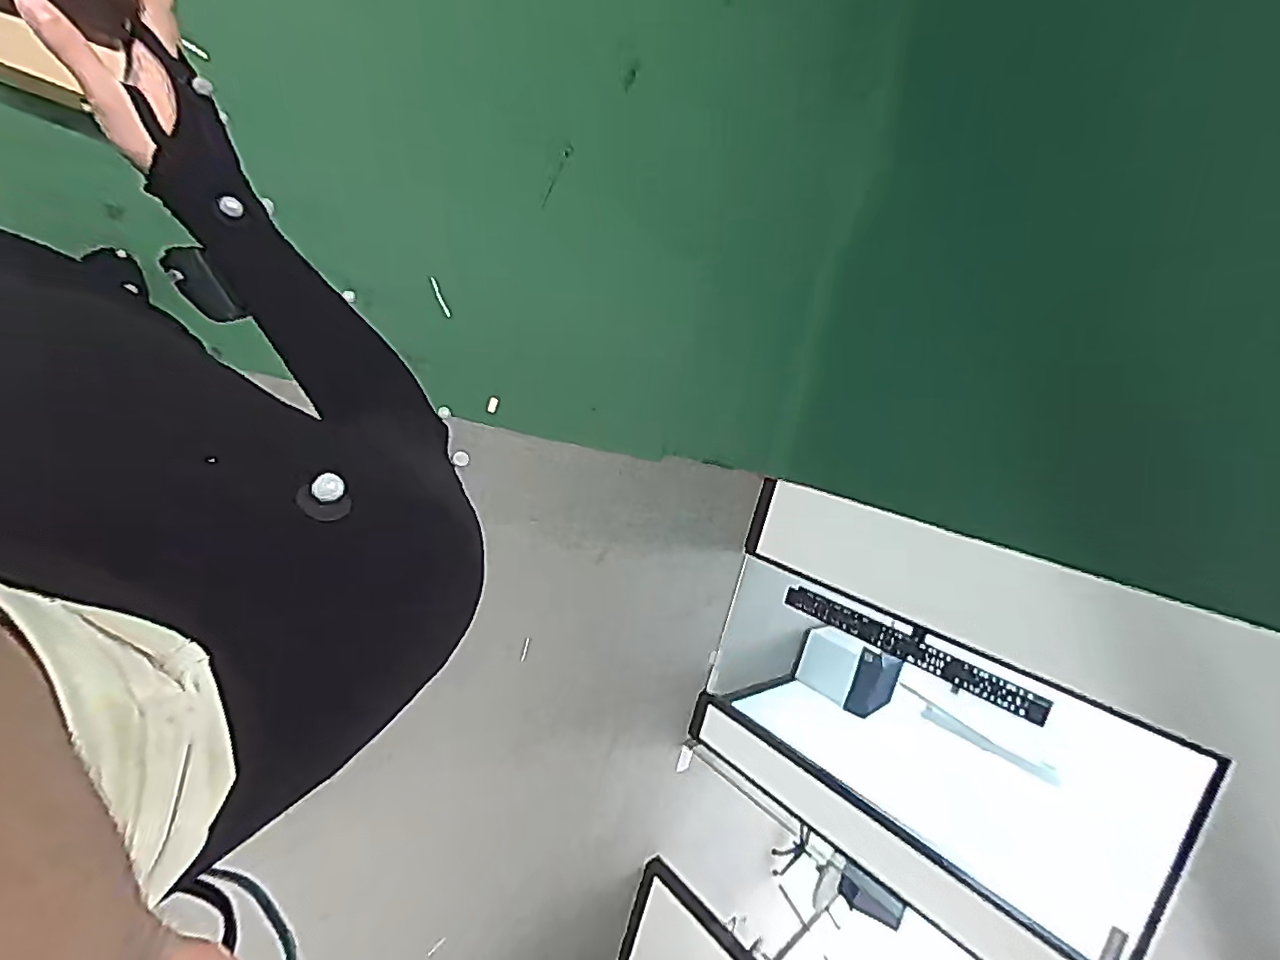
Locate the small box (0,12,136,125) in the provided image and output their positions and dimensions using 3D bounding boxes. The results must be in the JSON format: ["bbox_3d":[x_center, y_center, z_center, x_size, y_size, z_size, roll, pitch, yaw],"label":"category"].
[{"bbox_3d":[-1.035,-0.770,0.970,0.179,0.176,0.168,4,102,-46],"label":"small box"}]

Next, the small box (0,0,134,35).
[{"bbox_3d":[-0.434,-0.414,0.327,0.179,0.176,0.168,-6,110,-43],"label":"small box"}]
